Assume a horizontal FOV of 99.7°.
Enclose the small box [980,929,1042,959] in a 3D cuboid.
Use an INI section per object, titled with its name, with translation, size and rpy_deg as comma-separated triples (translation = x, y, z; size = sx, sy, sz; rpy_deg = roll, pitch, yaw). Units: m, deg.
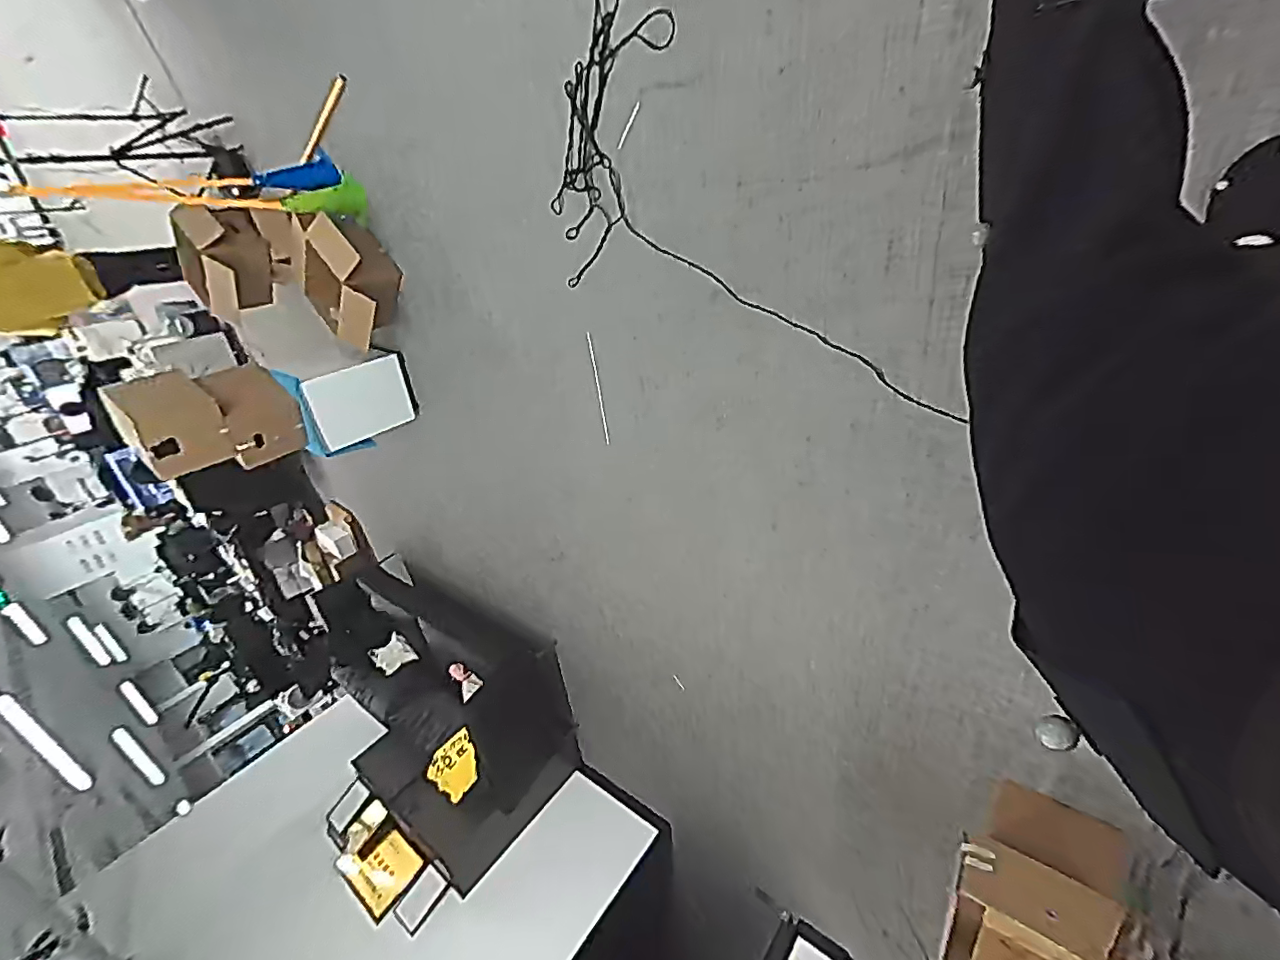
[small box]
translation = 1.015, 1.390, 1.469
size = 0.168, 0.176, 0.179
rpy_deg = 9, 119, 40
